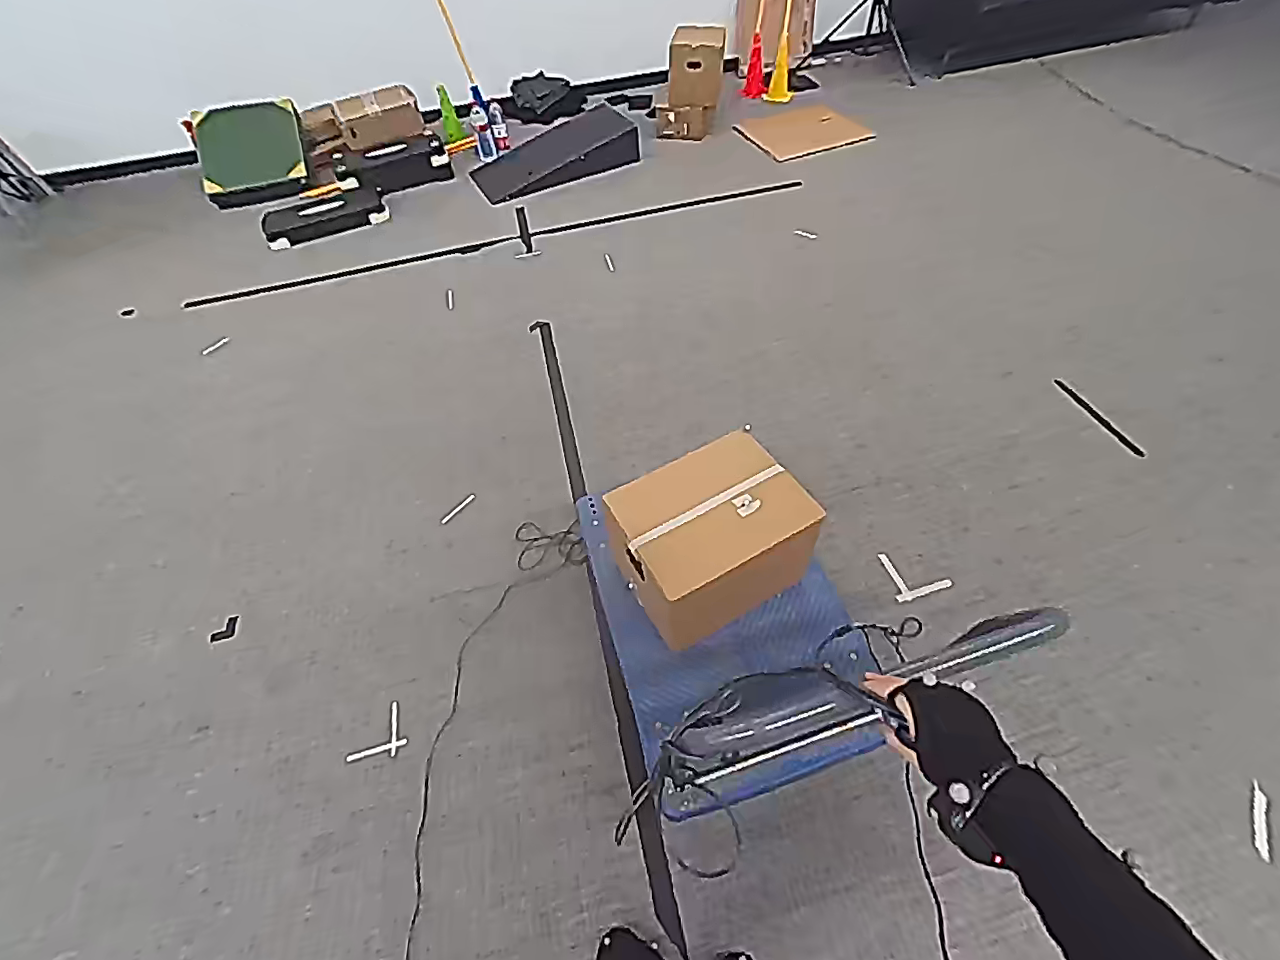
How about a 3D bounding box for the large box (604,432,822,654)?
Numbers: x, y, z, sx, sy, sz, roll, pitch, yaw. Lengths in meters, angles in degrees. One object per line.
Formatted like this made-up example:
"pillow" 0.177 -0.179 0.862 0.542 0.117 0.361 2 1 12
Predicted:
"large box" 0.166 0.155 1.332 0.408 0.320 0.320 -25 55 -15
